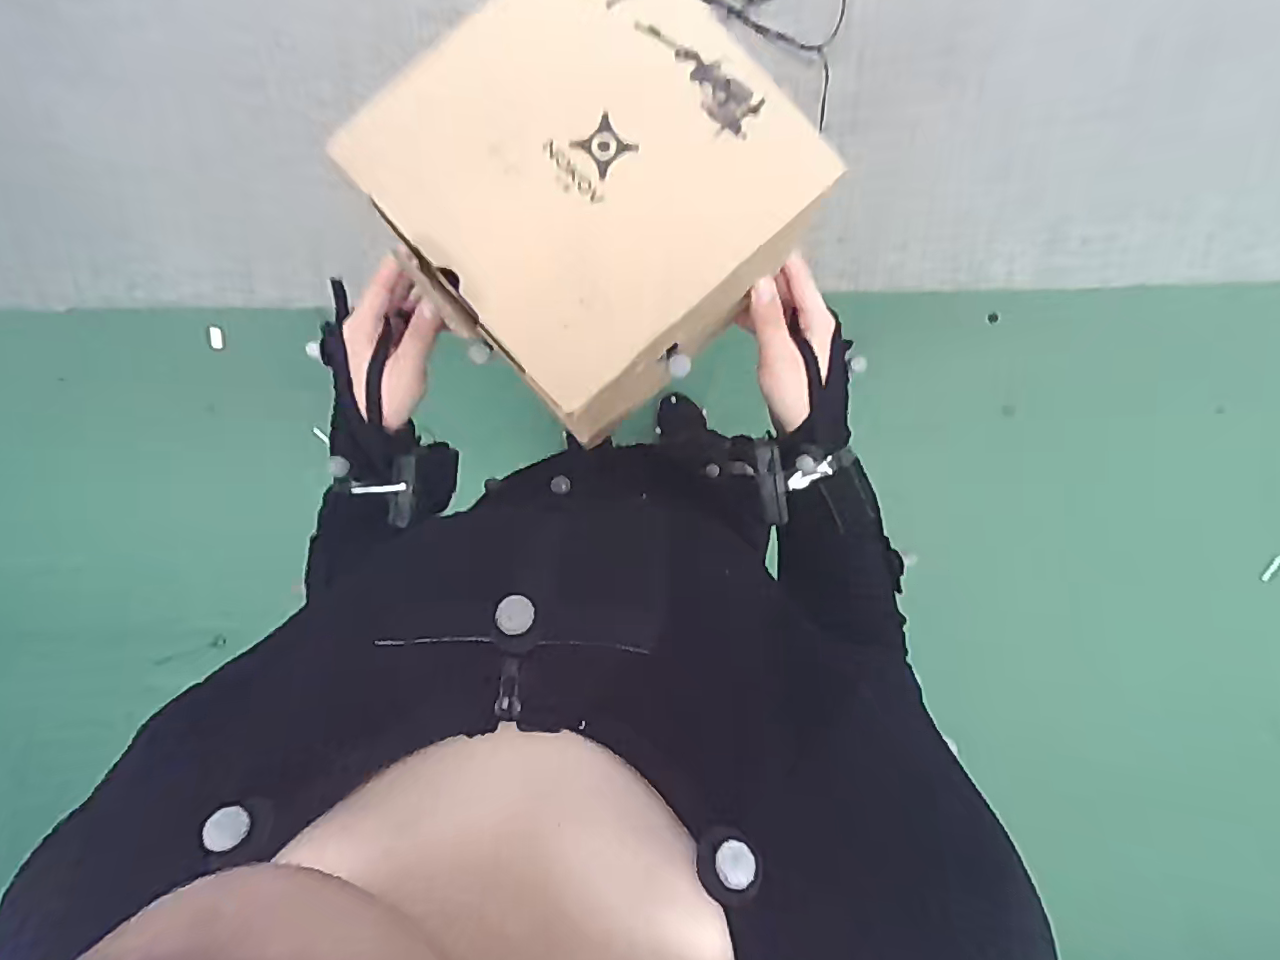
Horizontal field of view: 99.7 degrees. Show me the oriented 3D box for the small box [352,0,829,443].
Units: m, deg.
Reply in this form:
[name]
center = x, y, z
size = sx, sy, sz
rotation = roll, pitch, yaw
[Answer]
[small box]
center = -0.024, -0.140, 0.339
size = 0.179, 0.176, 0.168
rotation = -43, 90, -2
